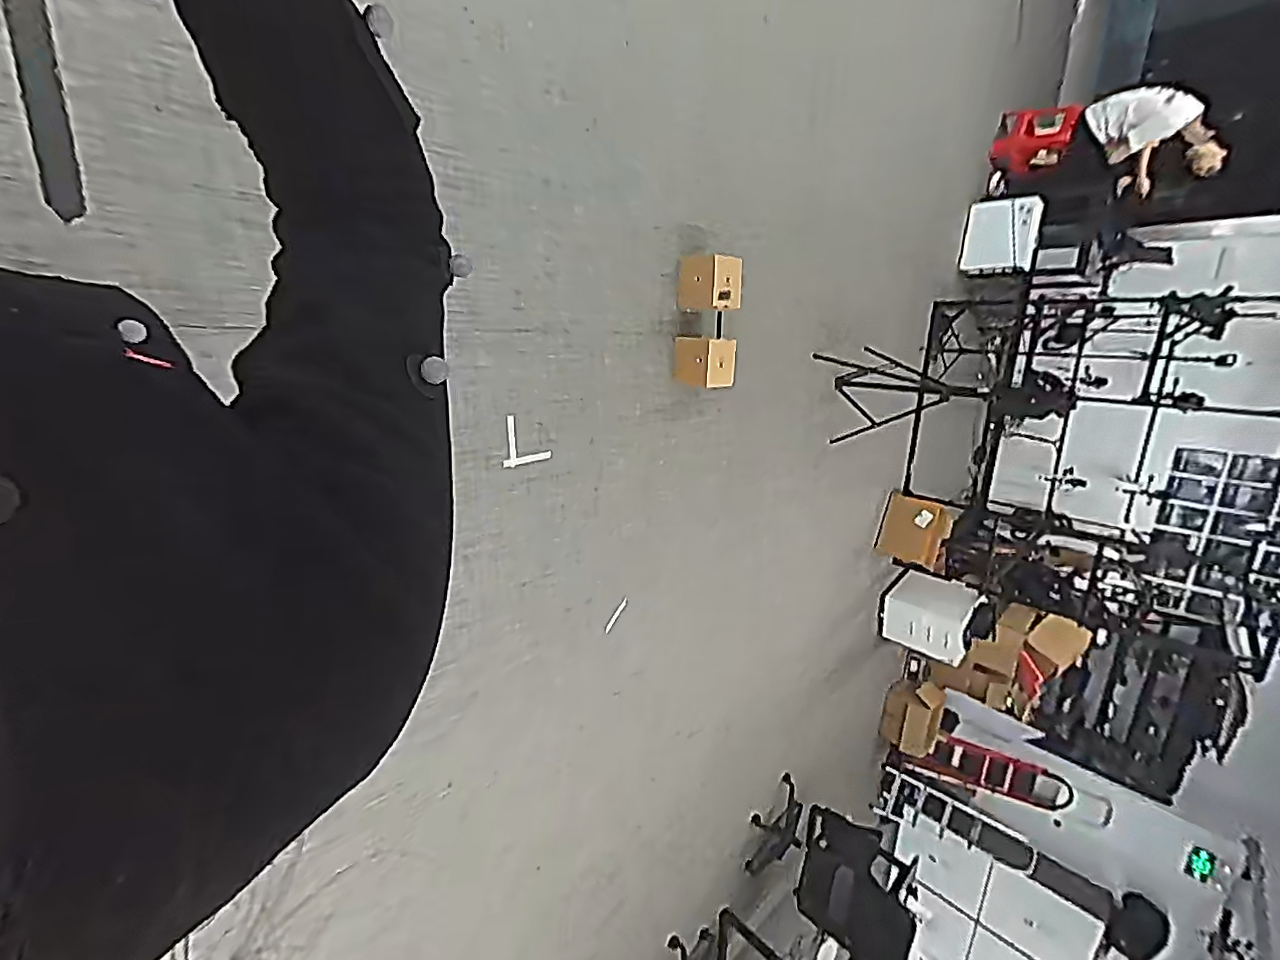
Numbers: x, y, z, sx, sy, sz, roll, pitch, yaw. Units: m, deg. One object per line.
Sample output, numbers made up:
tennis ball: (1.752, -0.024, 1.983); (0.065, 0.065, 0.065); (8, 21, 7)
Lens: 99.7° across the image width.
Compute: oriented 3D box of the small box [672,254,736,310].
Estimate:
small box: (0.233, -0.727, 1.998); (0.168, 0.176, 0.179); (-12, 109, -44)

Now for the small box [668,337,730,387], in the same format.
small box: (0.223, -0.453, 2.073); (0.168, 0.176, 0.179); (-11, 109, -43)
